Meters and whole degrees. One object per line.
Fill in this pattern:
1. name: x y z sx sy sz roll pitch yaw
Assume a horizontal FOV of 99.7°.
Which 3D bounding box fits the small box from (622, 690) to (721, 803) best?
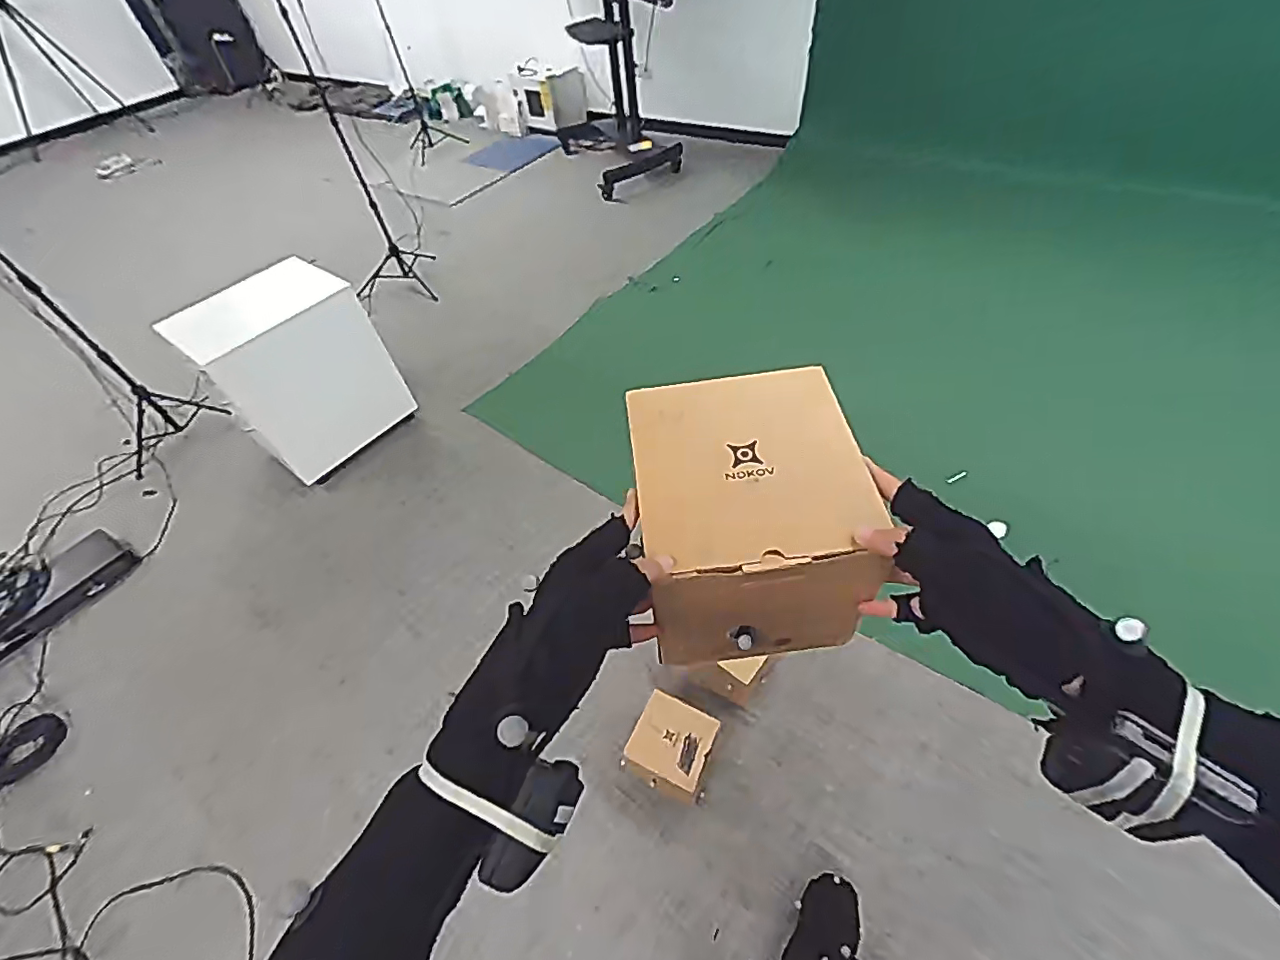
1. small box: 0.079 0.633 1.274 0.179 0.176 0.168 18 54 22
